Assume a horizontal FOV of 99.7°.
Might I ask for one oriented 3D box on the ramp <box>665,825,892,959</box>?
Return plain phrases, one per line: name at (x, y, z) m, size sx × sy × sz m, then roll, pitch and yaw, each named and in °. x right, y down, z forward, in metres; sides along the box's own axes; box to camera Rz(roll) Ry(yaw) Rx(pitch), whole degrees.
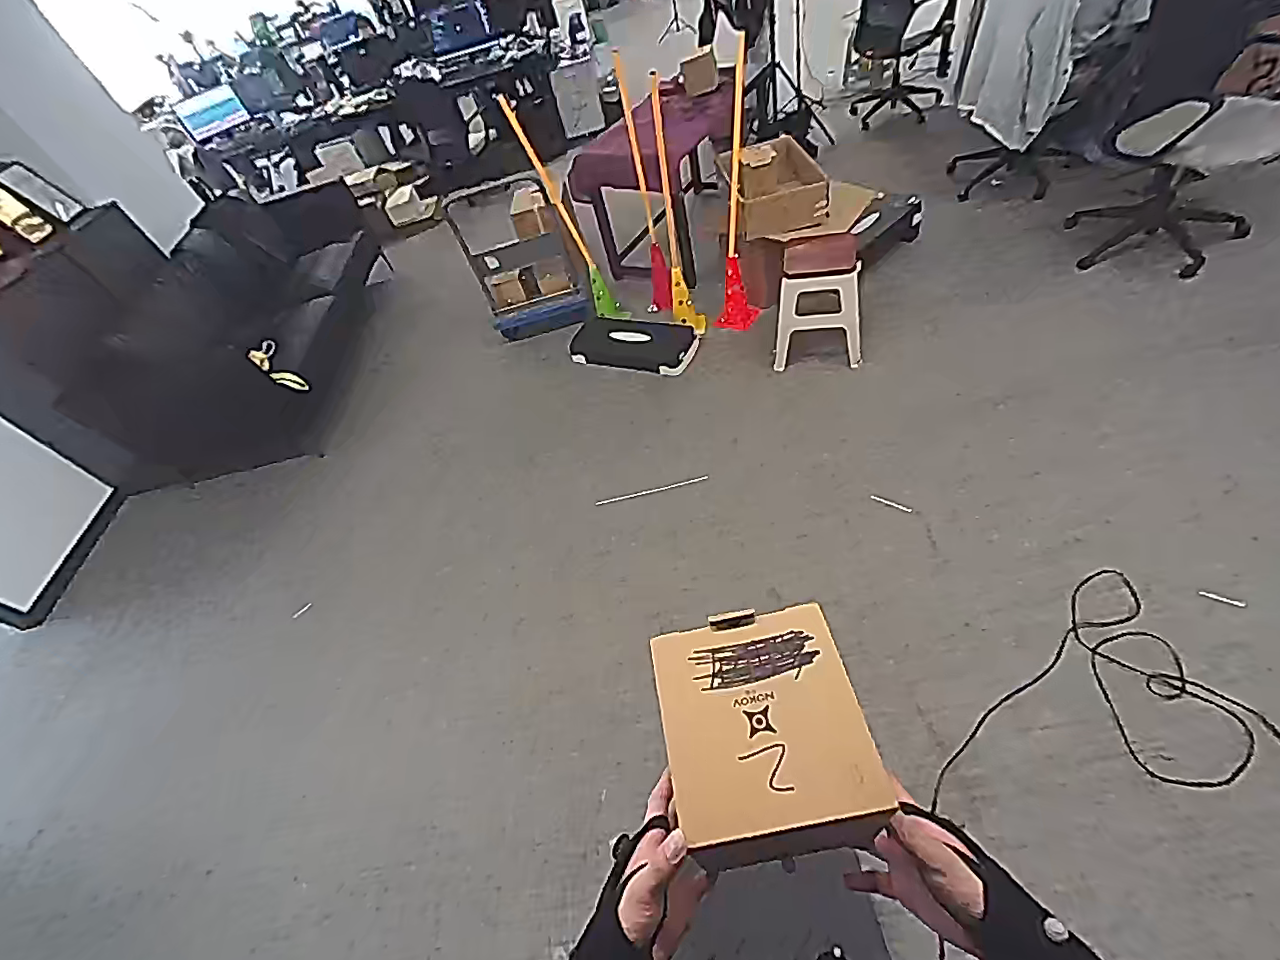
ramp at (0.328, 1.246, 1.021) m, size 0.509 × 0.206 × 0.991 m, roll -15°, pitch 47°, yaw 6°
